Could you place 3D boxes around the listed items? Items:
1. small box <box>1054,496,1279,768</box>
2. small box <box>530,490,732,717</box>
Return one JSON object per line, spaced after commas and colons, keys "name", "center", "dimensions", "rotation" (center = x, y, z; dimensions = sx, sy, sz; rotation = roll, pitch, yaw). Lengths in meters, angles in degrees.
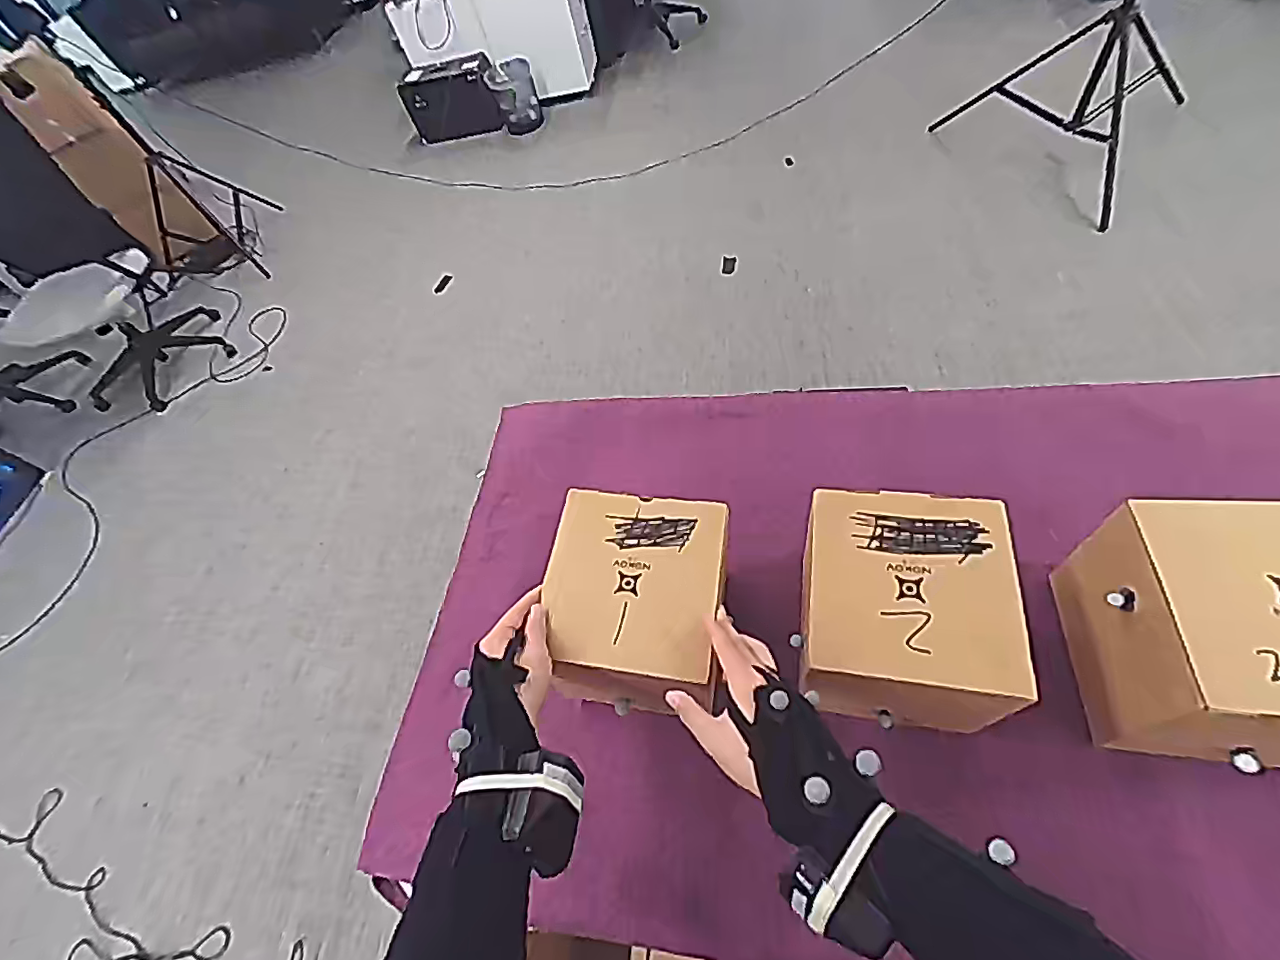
{"name": "small box", "center": [0.501, 0.133, 0.469], "dimensions": [0.168, 0.176, 0.179], "rotation": [1, 57, 15]}
{"name": "small box", "center": [0.004, 0.133, 0.574], "dimensions": [0.168, 0.176, 0.179], "rotation": [5, 58, 11]}
